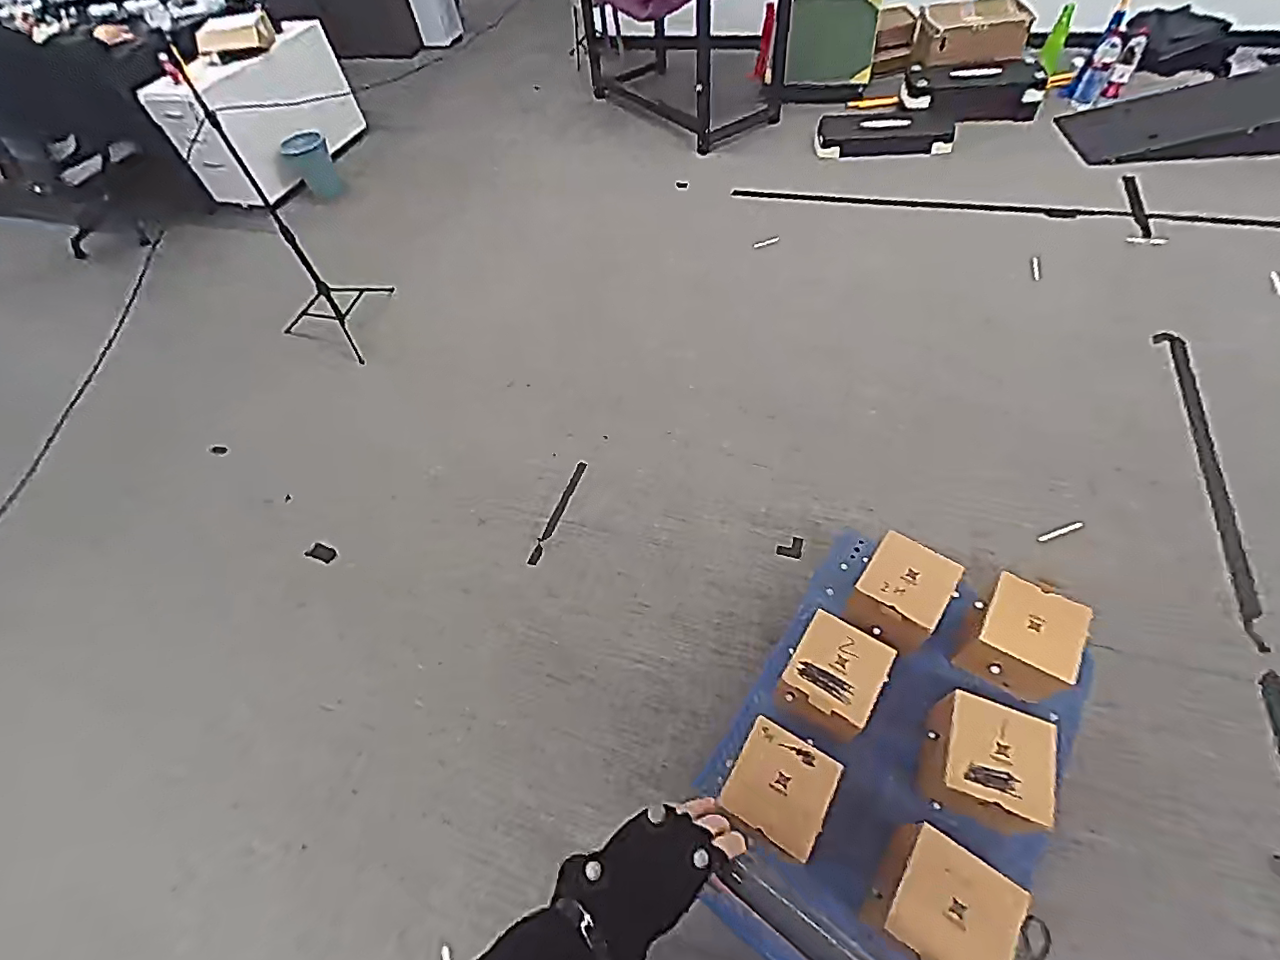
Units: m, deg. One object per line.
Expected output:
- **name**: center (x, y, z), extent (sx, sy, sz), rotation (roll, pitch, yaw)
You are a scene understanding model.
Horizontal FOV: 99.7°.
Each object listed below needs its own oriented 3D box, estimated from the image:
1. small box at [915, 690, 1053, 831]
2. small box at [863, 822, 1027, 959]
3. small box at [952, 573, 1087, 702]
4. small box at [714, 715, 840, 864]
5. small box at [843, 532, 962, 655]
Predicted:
- **small box**: center (0.636, 0.530, 1.014), extent (0.168, 0.176, 0.179), rotation (18, 58, 18)
- **small box**: center (0.494, 0.713, 0.902), extent (0.168, 0.176, 0.179), rotation (30, 63, 24)
- **small box**: center (0.785, 0.336, 1.134), extent (0.168, 0.176, 0.179), rotation (26, 62, 23)
- **small box**: center (0.252, 0.584, 1.020), extent (0.168, 0.176, 0.179), rotation (26, 62, 22)
- **small box**: center (0.577, 0.257, 1.212), extent (0.168, 0.176, 0.179), rotation (31, 64, 25)
